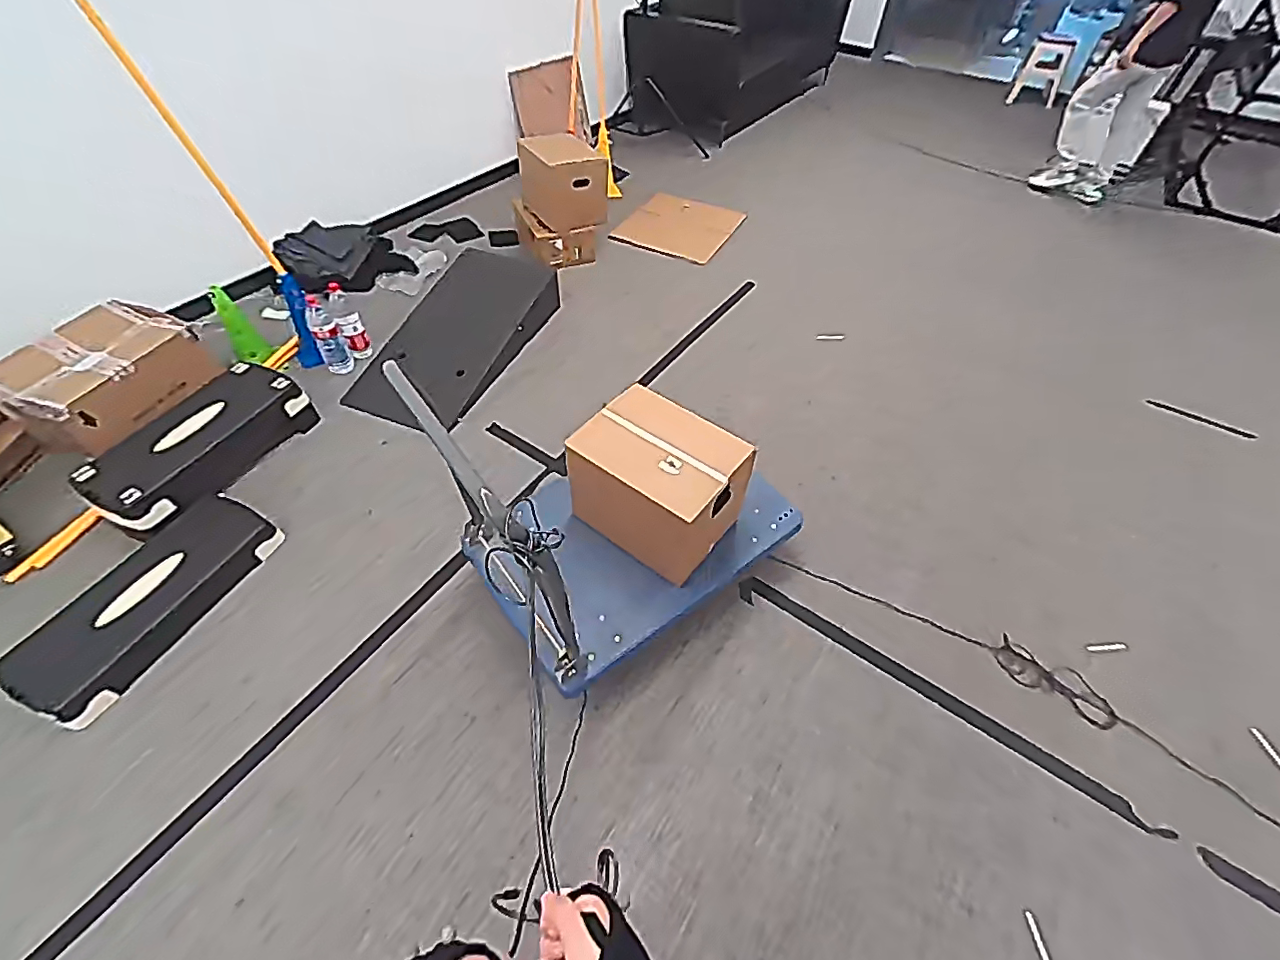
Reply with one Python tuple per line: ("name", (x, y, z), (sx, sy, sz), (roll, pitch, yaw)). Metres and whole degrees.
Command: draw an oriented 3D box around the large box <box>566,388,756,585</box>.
("large box", (0.046, 0.015, 1.511), (0.408, 0.320, 0.320), (32, 57, 21))
